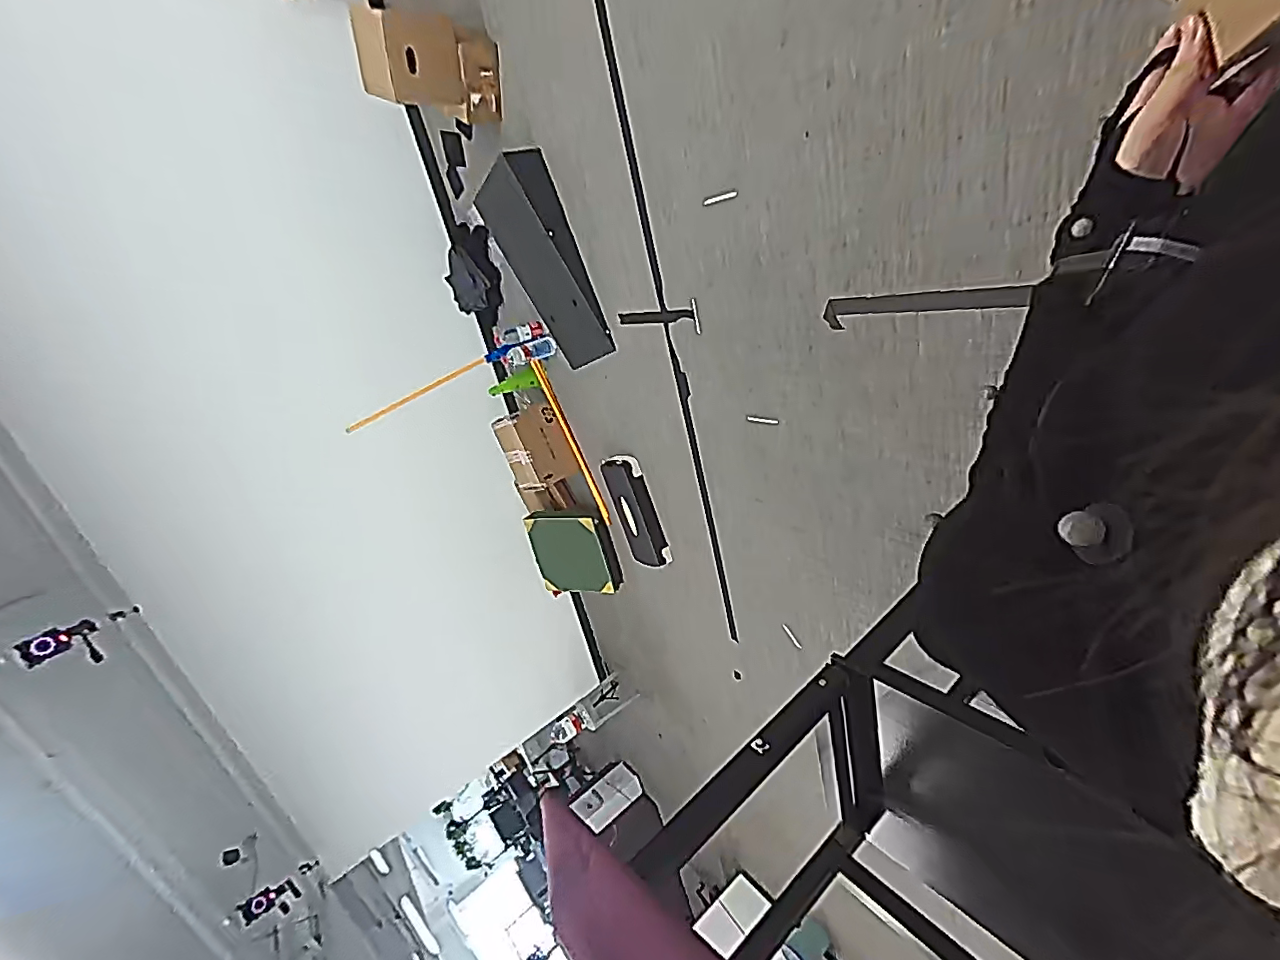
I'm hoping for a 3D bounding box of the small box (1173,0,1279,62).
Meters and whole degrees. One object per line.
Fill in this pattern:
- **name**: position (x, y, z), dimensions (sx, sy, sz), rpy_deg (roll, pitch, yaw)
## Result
- **small box**: position (0.352, -0.334, 0.229), dimensions (0.179, 0.176, 0.168), rpy_deg (-20, 97, 40)
